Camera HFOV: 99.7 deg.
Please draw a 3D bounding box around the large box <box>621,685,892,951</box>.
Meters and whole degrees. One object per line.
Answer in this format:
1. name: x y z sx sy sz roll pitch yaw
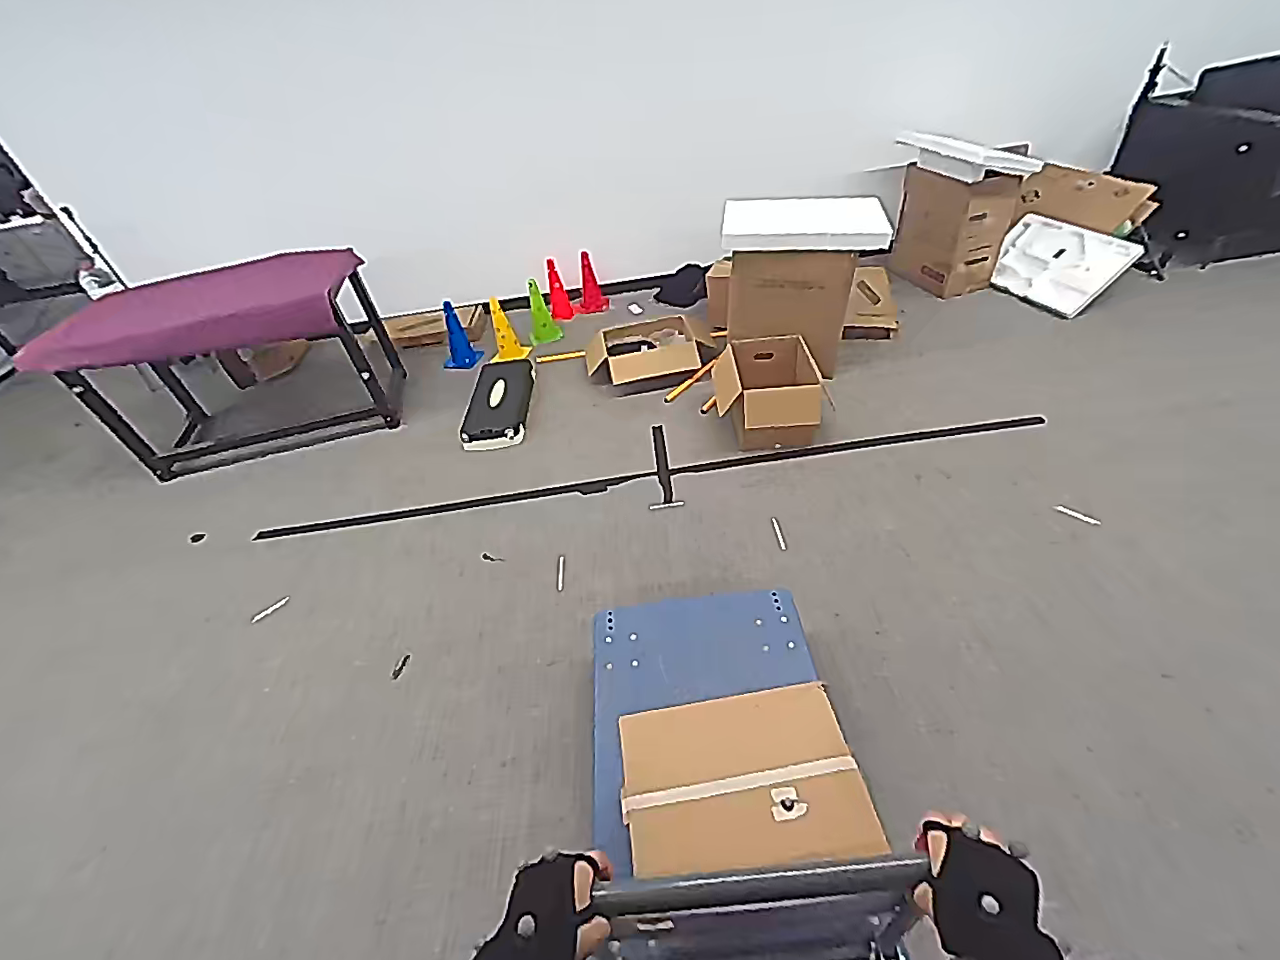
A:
1. large box: 0.192 0.647 1.041 0.408 0.320 0.320 -9 42 -2
